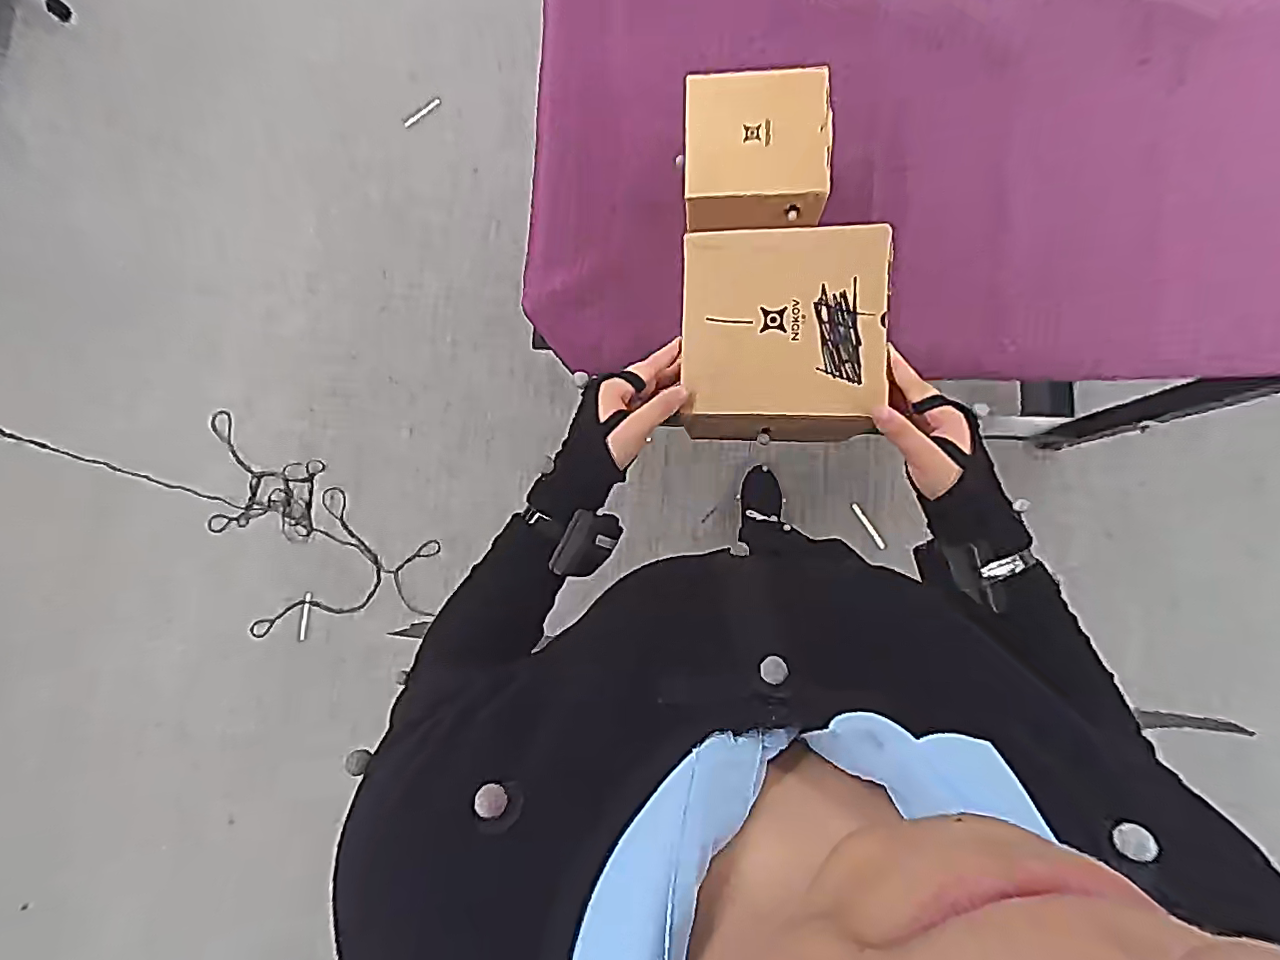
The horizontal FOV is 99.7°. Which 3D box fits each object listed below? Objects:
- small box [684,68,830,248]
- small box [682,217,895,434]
[{"bbox_3d":[0.152,-0.416,0.742,0.179,0.176,0.168,0,84,6],"label":"small box"},{"bbox_3d":[0.136,-0.140,0.542,0.179,0.176,0.168,2,87,9],"label":"small box"}]
